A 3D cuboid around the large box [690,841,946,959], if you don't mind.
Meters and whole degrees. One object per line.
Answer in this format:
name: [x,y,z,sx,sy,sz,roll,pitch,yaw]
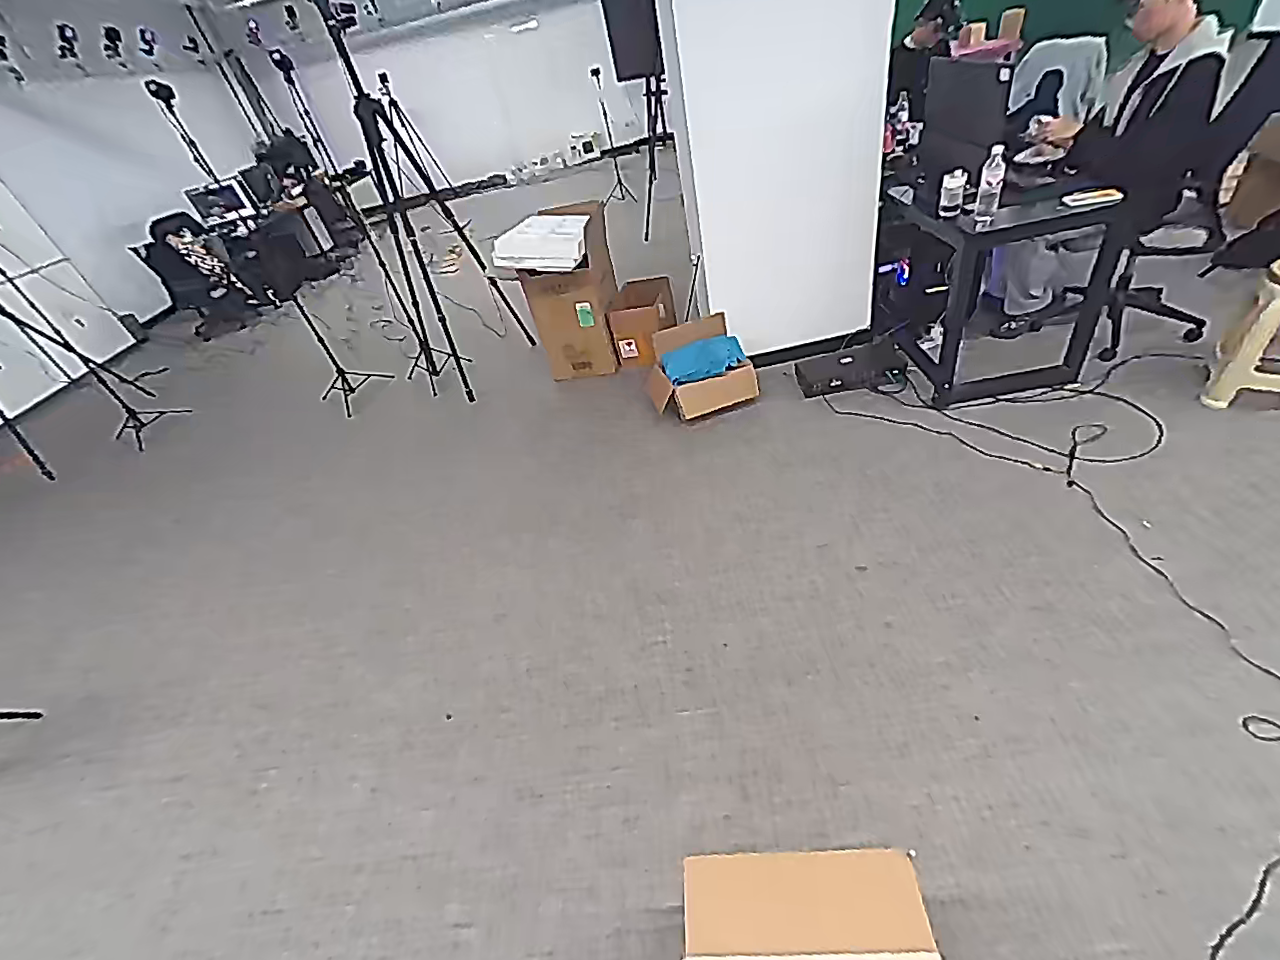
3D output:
large box: [0.314,0.888,0.972,0.408,0.320,0.320,-8,39,8]
